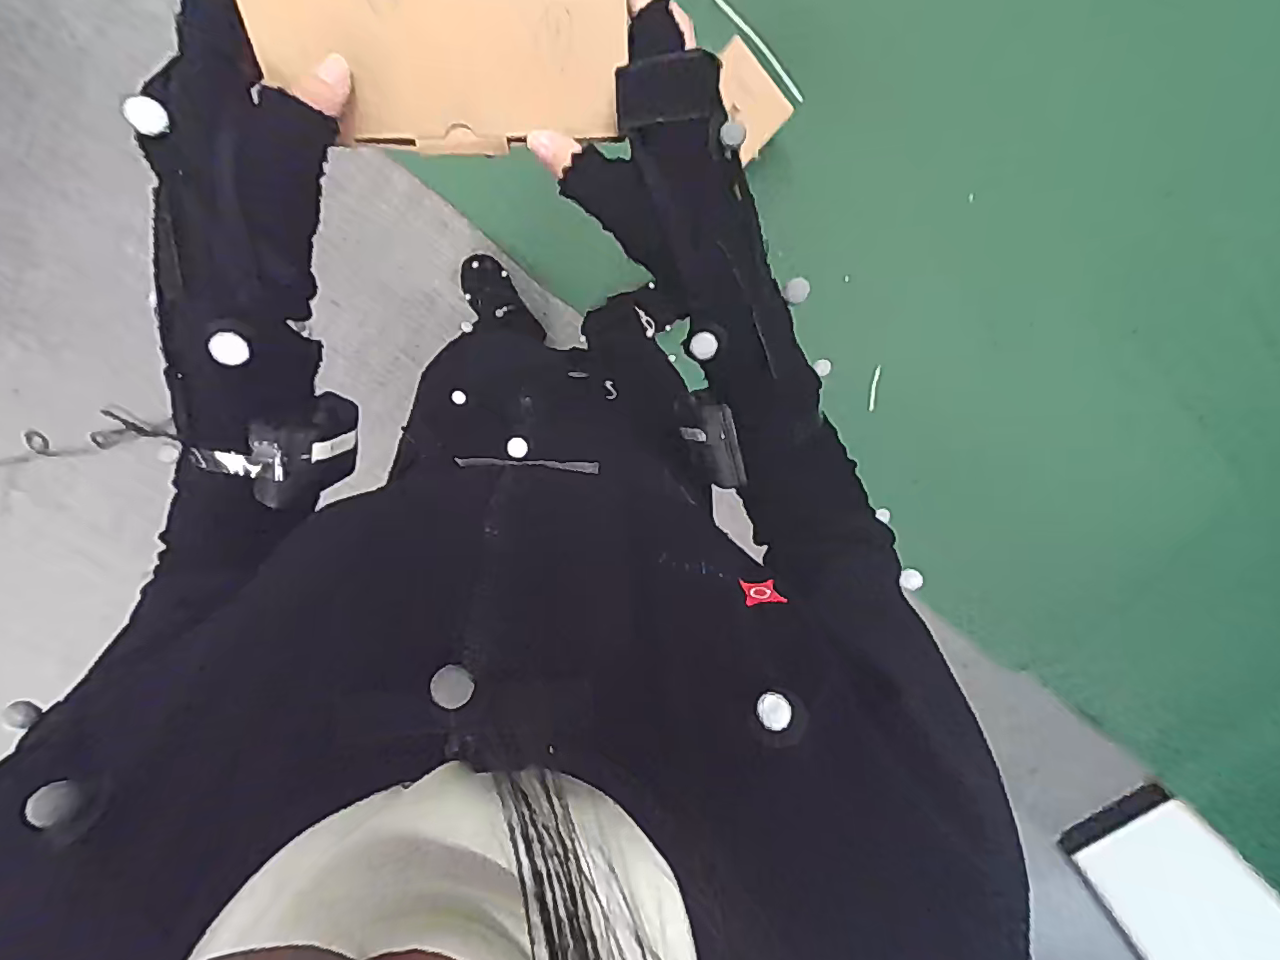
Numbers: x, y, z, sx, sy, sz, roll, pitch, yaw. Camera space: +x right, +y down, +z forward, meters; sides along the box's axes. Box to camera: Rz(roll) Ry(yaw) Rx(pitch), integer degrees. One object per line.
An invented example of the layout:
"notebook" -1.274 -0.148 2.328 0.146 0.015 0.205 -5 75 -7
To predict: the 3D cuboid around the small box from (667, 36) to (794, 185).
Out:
"small box" 0.168 -0.712 1.071 0.179 0.176 0.168 -41 113 16
